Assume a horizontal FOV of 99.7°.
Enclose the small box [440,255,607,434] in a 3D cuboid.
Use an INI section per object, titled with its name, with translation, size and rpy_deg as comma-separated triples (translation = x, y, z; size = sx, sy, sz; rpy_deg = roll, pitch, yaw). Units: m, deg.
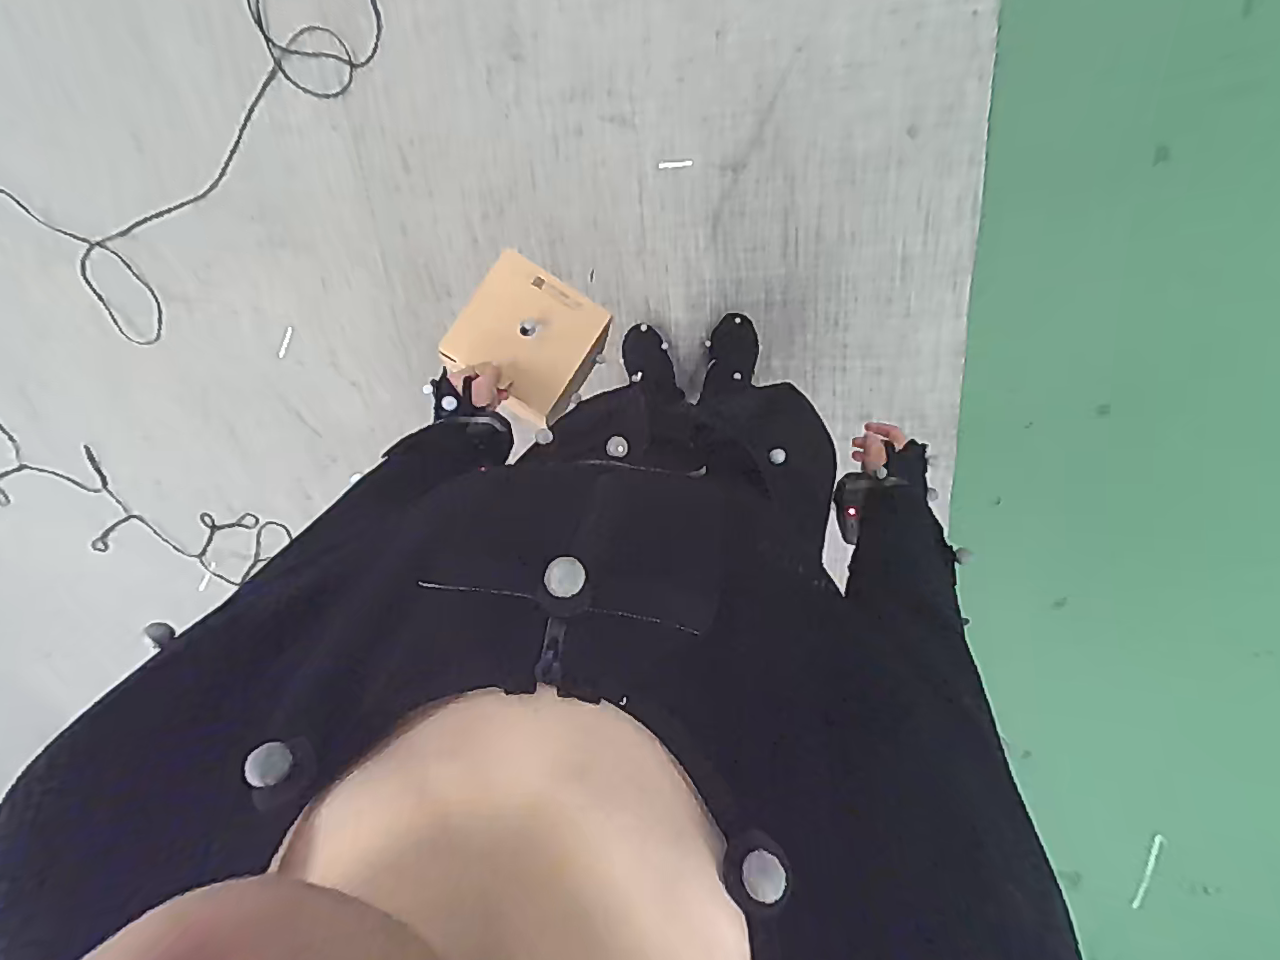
[small box]
translation = -0.162, -0.190, 0.790
size = 0.168, 0.179, 0.176
rpy_deg = 31, 82, -6
